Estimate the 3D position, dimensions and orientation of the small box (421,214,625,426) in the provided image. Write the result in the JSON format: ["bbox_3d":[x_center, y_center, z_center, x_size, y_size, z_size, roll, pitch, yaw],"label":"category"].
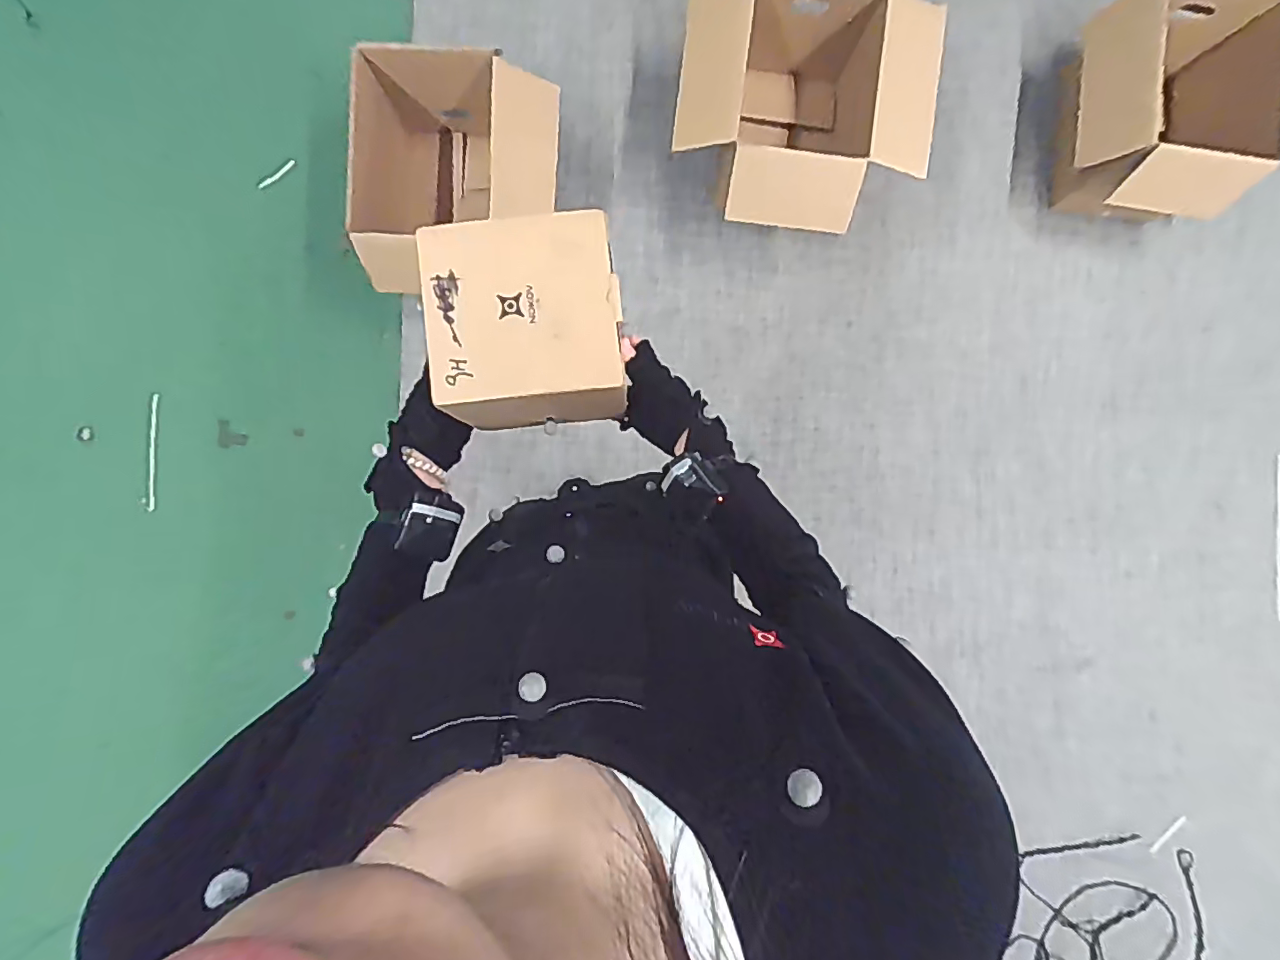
[{"bbox_3d":[-0.111,-0.155,0.573,0.179,0.176,0.168,-5,86,-3],"label":"small box"}]
